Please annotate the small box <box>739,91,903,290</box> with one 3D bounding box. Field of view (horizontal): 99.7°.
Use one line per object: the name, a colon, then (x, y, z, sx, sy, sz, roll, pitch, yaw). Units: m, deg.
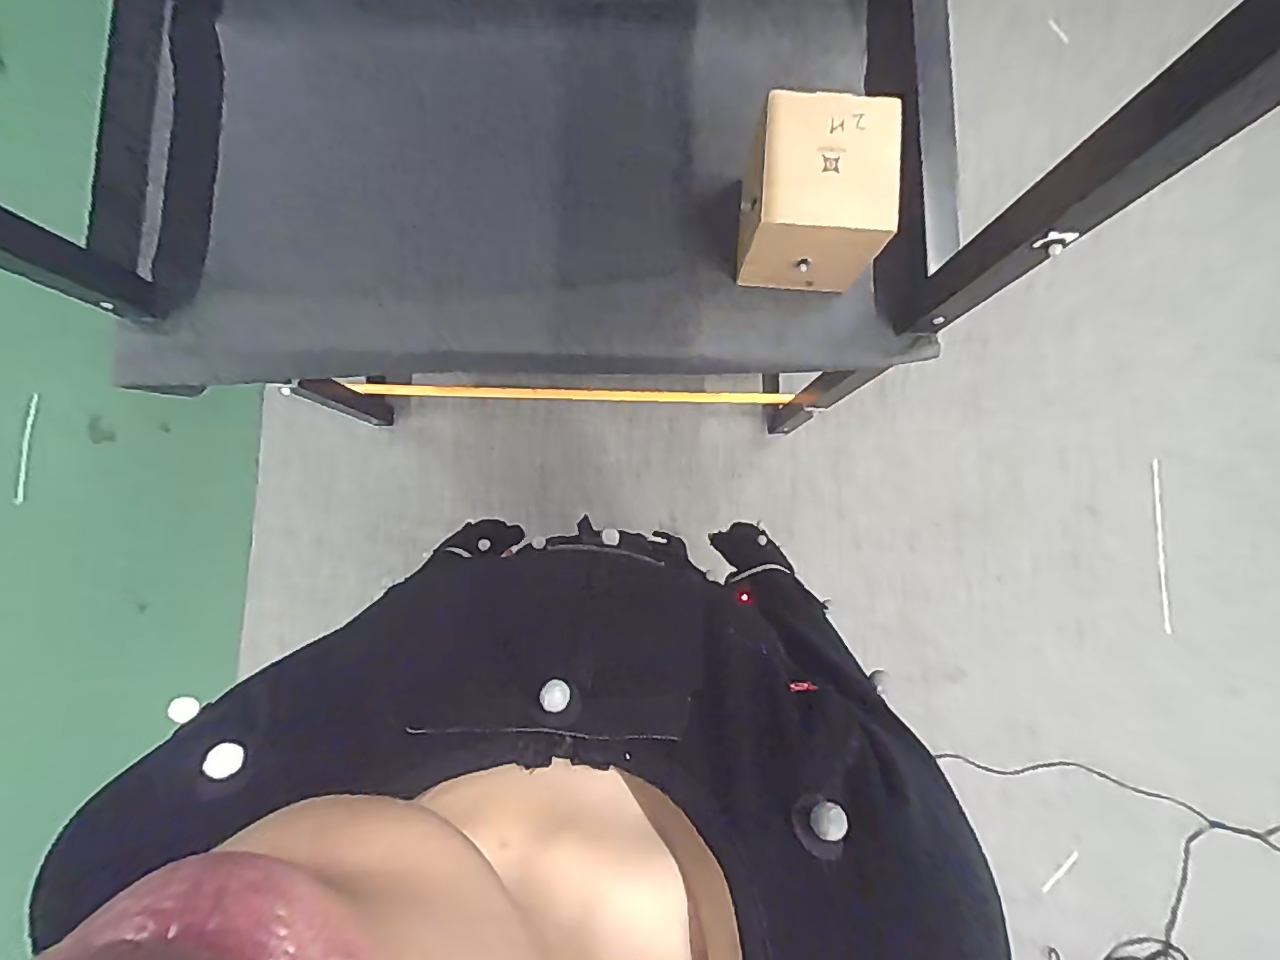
small box: (0.234, -0.379, 0.736, 0.168, 0.176, 0.179, 5, 84, 0)
